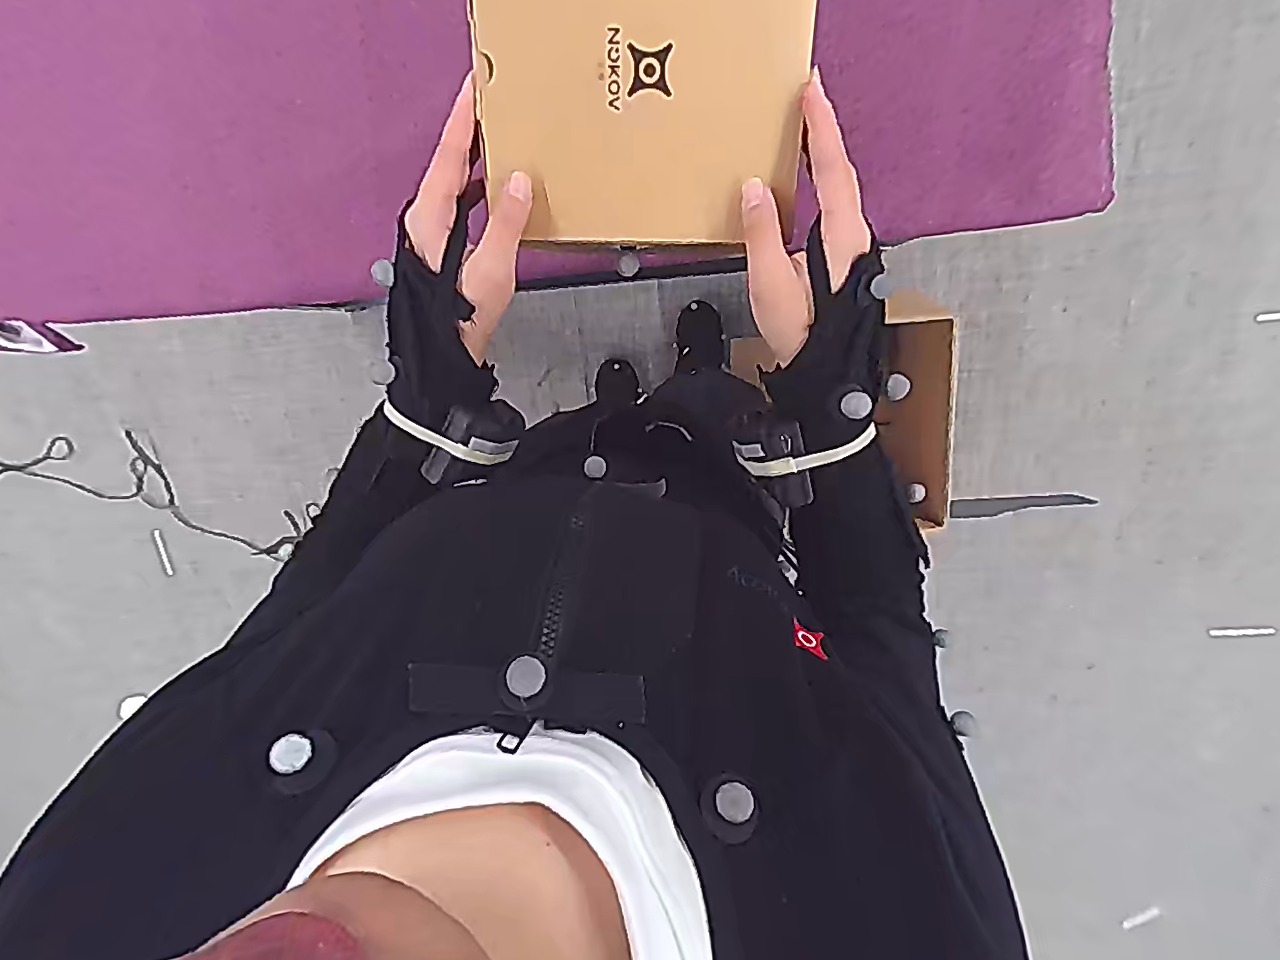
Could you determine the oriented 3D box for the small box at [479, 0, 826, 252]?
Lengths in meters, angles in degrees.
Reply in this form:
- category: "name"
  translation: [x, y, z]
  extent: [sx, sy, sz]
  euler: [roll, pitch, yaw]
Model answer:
- category: "small box"
  translation: [0.007, -0.242, 0.353]
  extent: [0.179, 0.176, 0.168]
  euler: [1, 111, 2]
